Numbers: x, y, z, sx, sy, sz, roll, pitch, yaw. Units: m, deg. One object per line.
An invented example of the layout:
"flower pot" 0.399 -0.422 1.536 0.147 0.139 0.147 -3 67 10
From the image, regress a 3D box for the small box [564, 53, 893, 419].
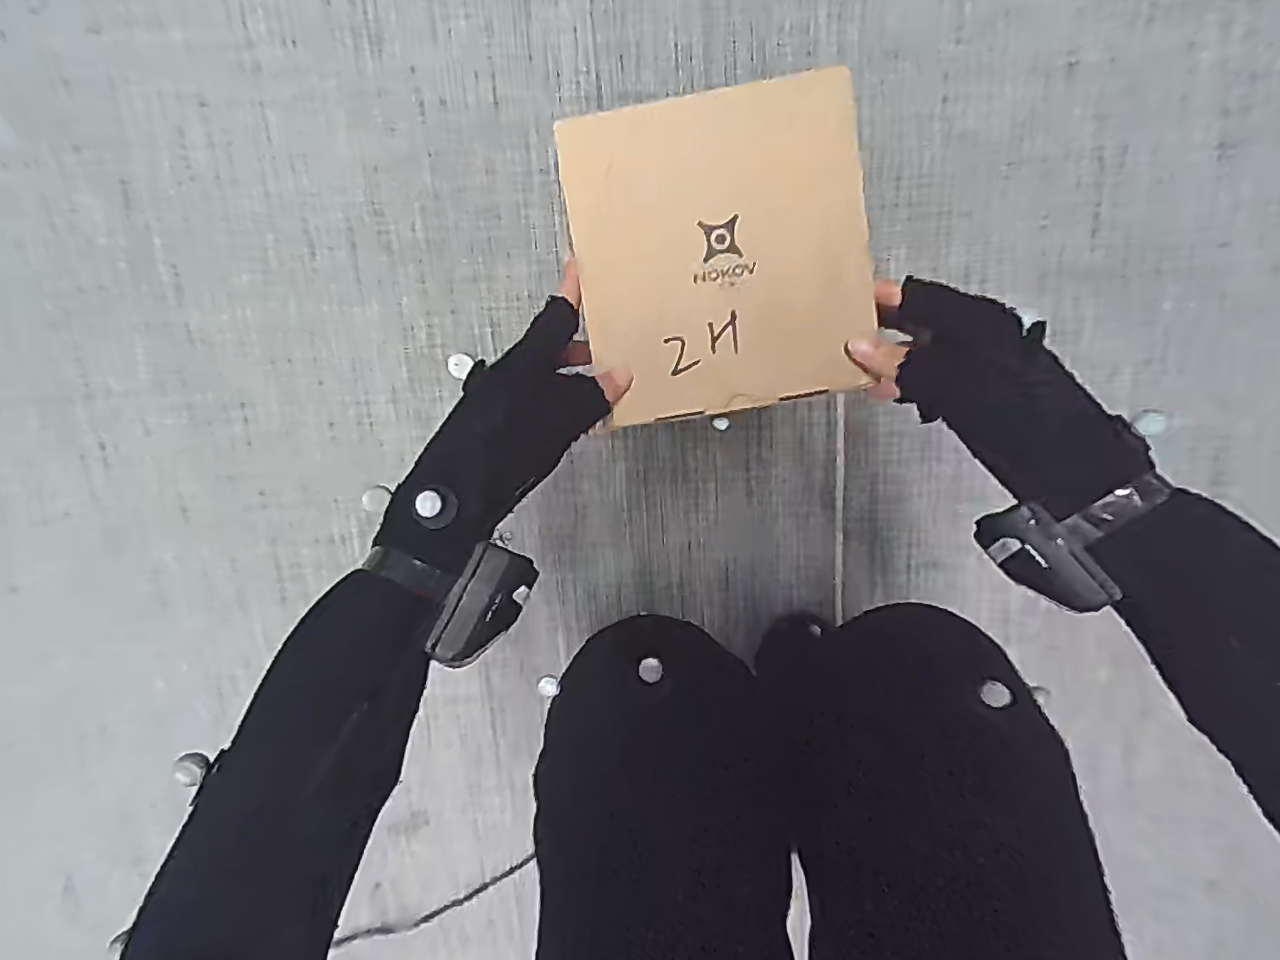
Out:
"small box" 0.052 -0.139 0.376 0.168 0.176 0.179 -9 97 3
